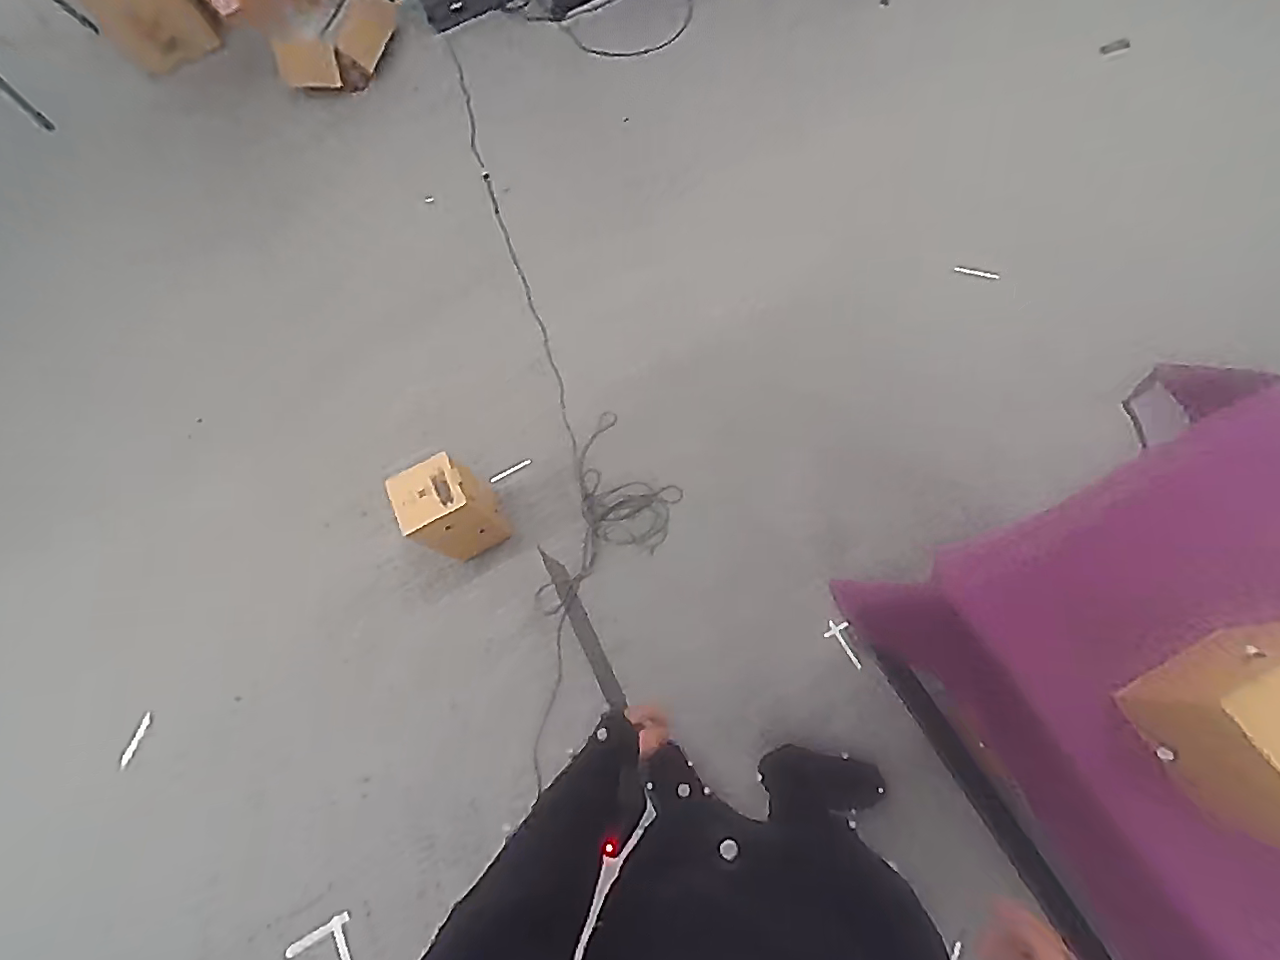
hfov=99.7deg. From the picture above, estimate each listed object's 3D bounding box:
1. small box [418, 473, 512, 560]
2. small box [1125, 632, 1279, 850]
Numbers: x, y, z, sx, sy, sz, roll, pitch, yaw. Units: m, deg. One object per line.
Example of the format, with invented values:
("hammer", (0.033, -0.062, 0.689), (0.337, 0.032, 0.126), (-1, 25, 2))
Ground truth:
("small box", (-0.503, 0.113, 1.573), (0.179, 0.176, 0.168), (-30, 70, -3))
("small box", (0.688, 0.267, 0.568), (0.179, 0.176, 0.168), (-29, 69, -2))
